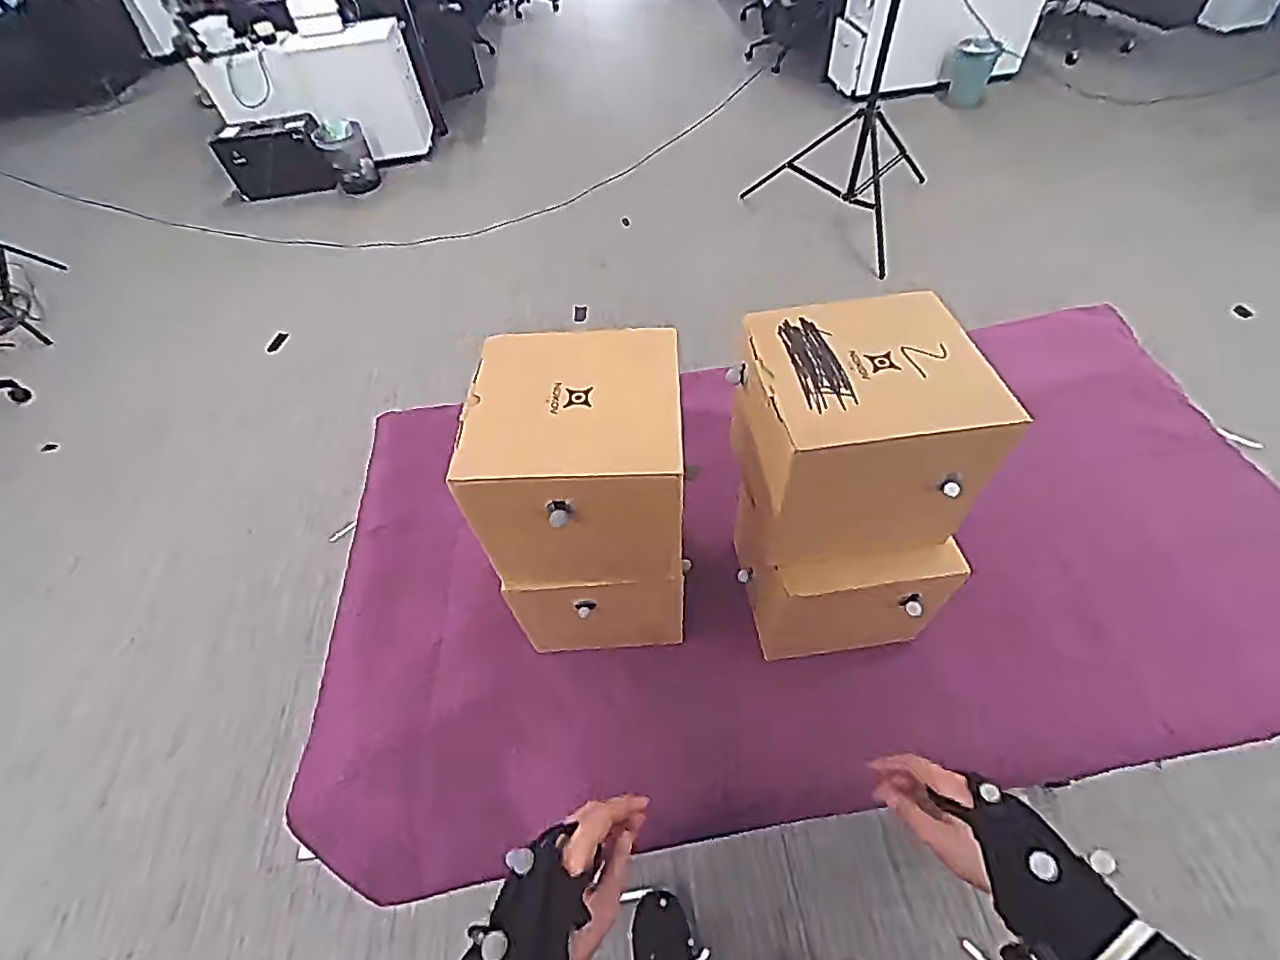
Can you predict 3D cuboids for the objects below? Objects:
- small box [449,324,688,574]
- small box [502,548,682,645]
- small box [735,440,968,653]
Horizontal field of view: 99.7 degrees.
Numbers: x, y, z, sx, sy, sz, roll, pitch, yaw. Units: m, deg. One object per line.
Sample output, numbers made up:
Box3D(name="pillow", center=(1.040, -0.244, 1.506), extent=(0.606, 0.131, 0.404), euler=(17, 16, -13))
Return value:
Box3D(name="small box", center=(-0.047, -0.023, 0.500), extent=(0.179, 0.176, 0.168), euler=(-2, 53, 4))
Box3D(name="small box", center=(-0.045, 0.081, 0.625), extent=(0.179, 0.176, 0.168), euler=(-4, 52, 1))
Box3D(name="small box", center=(0.213, 0.078, 0.605), extent=(0.179, 0.176, 0.168), euler=(-7, 51, -1))
